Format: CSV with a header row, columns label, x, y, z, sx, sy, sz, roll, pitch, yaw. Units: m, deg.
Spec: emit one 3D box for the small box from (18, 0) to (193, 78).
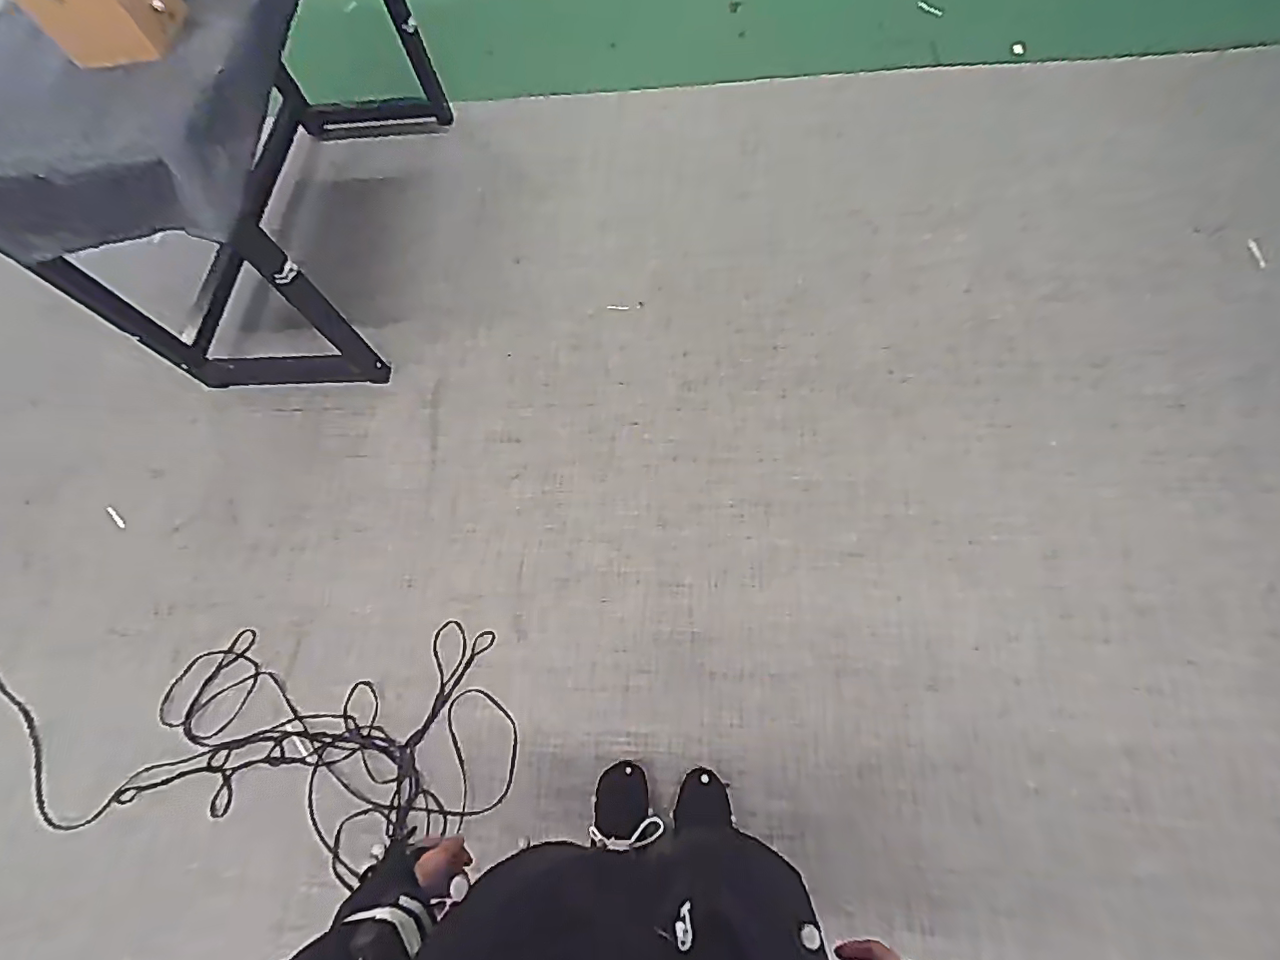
label,x,y,z,sx,sy,sz,roll,pitch,yaw
small box,-1.002,-0.888,1.008,0.179,0.176,0.168,-3,67,4
